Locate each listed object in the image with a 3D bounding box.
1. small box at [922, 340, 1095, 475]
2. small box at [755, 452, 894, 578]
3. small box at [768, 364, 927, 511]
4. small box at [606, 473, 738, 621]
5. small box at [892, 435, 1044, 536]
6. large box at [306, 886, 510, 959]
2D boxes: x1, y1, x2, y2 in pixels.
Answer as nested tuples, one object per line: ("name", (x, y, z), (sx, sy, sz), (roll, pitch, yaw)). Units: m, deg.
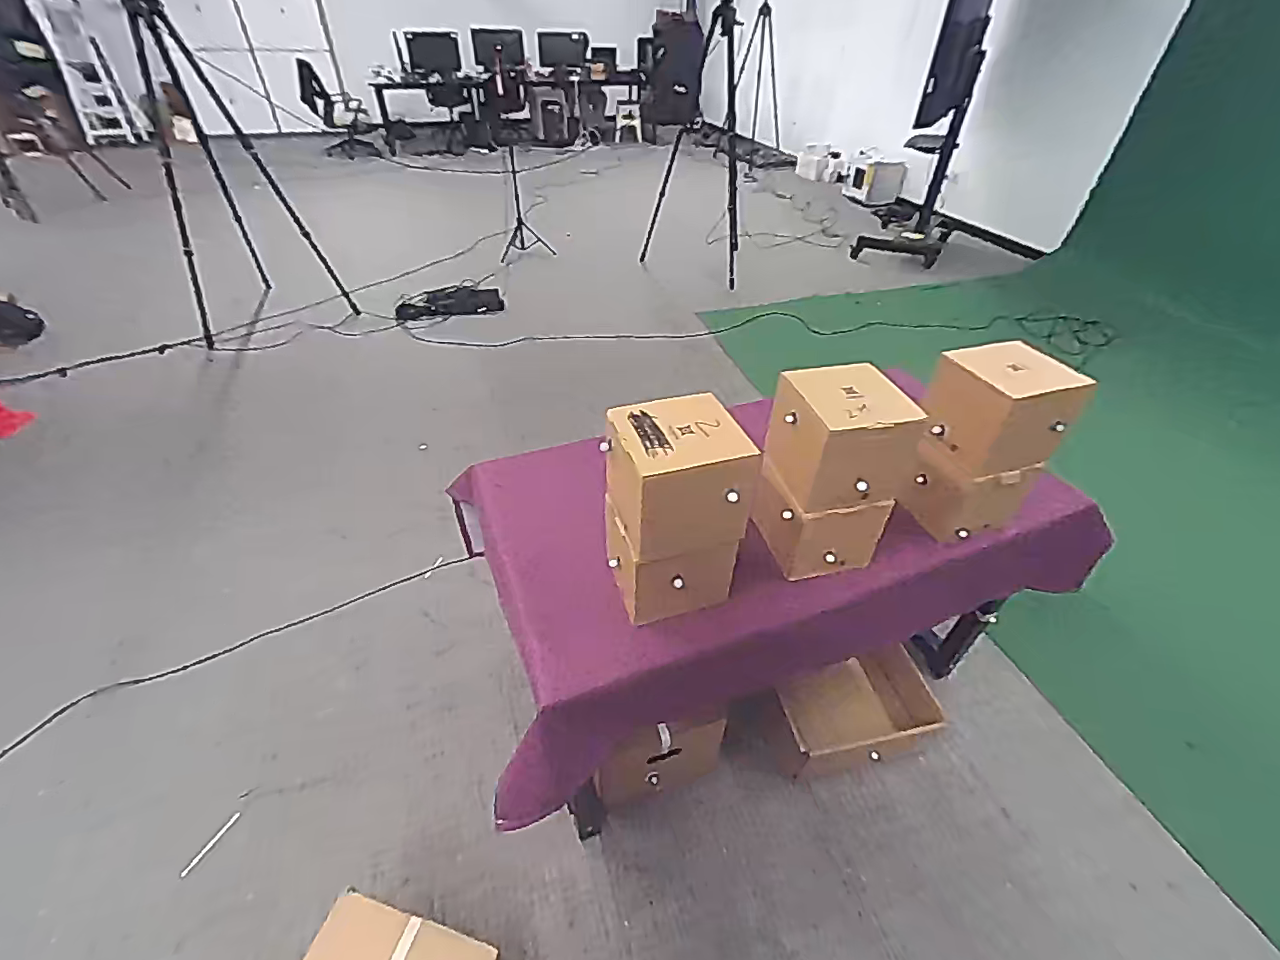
("small box", (0.641, -0.131, 0.974), (0.179, 0.176, 0.168), (-12, 42, -13))
("small box", (0.329, 0.054, 1.008), (0.168, 0.176, 0.179), (-9, 43, -11))
("small box", (0.331, -0.073, 0.905), (0.168, 0.176, 0.179), (-8, 43, -10))
("small box", (0.048, 0.117, 0.929), (0.179, 0.176, 0.168), (-12, 44, -14))
("small box", (0.636, -0.006, 1.080), (0.168, 0.176, 0.179), (-12, 43, -14))
("large box", (-0.443, 1.008, 0.911), (0.320, 0.320, 0.408), (12, 42, 11))
